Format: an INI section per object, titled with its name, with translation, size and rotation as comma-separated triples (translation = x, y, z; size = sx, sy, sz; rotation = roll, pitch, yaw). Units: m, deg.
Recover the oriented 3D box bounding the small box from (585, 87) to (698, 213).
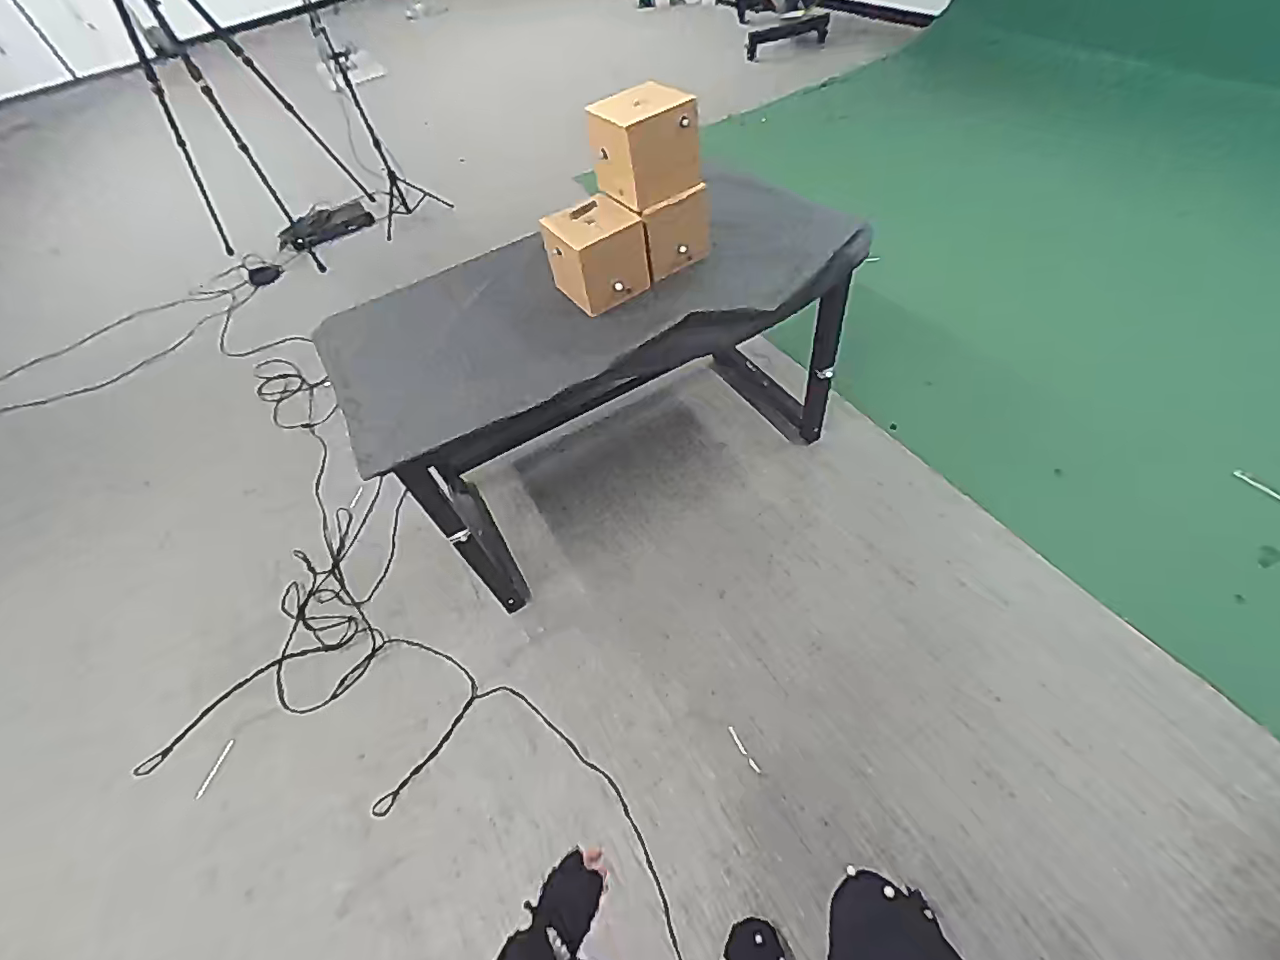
[small box]
translation = 0.010, -0.702, 1.155
size = 0.179, 0.176, 0.168
rotation = -31, 54, -15
